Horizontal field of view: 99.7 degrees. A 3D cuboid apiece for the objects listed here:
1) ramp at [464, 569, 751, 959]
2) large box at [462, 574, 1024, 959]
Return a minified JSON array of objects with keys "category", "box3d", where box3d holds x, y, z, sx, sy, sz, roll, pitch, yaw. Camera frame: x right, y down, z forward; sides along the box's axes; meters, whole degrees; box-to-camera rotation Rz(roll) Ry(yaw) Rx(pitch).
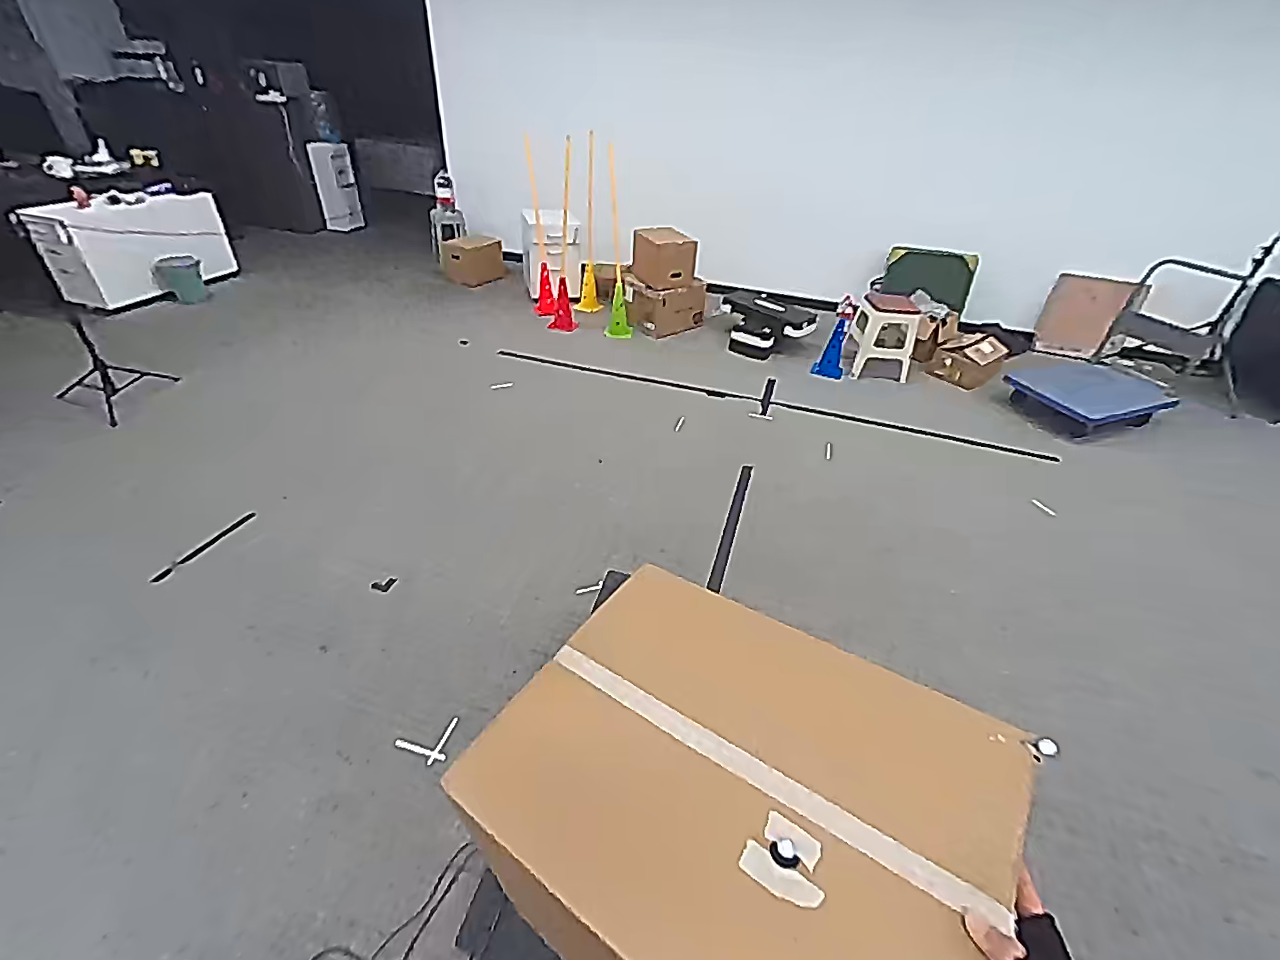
[{"category":"ramp","box3d":[-0.012,0.702,1.461,0.509,0.206,0.991,13,38,9]},{"category":"large box","box3d":[0.097,0.367,0.559,0.408,0.320,0.320,20,43,32]}]
